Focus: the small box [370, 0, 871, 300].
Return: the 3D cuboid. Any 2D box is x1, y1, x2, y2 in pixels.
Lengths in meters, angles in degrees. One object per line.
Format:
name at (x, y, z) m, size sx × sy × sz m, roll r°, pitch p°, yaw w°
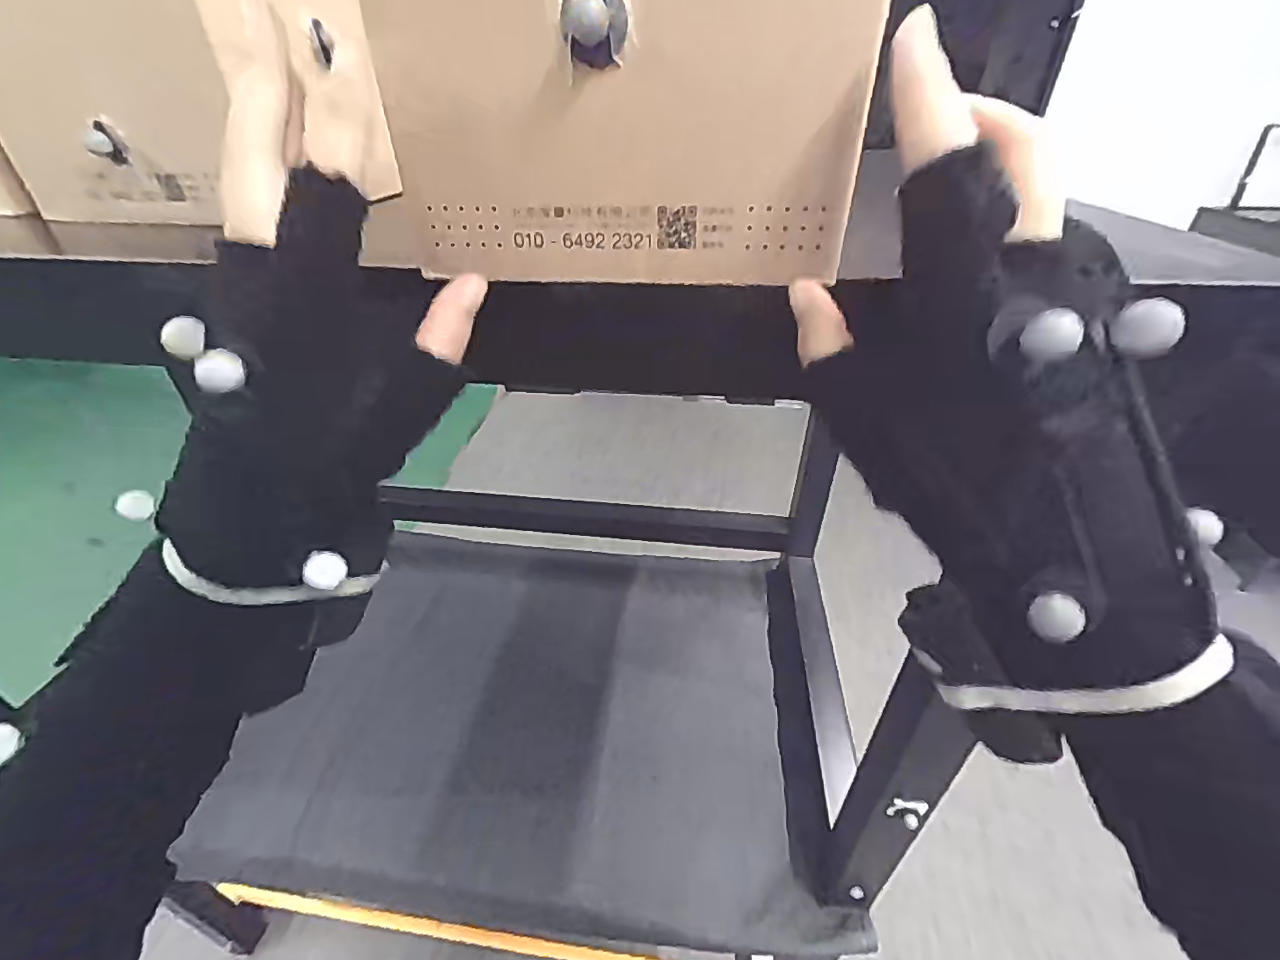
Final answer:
small box at (0.001, -0.187, 0.241) m, size 0.168 × 0.176 × 0.179 m, roll 3°, pitch 35°, yaw 5°
